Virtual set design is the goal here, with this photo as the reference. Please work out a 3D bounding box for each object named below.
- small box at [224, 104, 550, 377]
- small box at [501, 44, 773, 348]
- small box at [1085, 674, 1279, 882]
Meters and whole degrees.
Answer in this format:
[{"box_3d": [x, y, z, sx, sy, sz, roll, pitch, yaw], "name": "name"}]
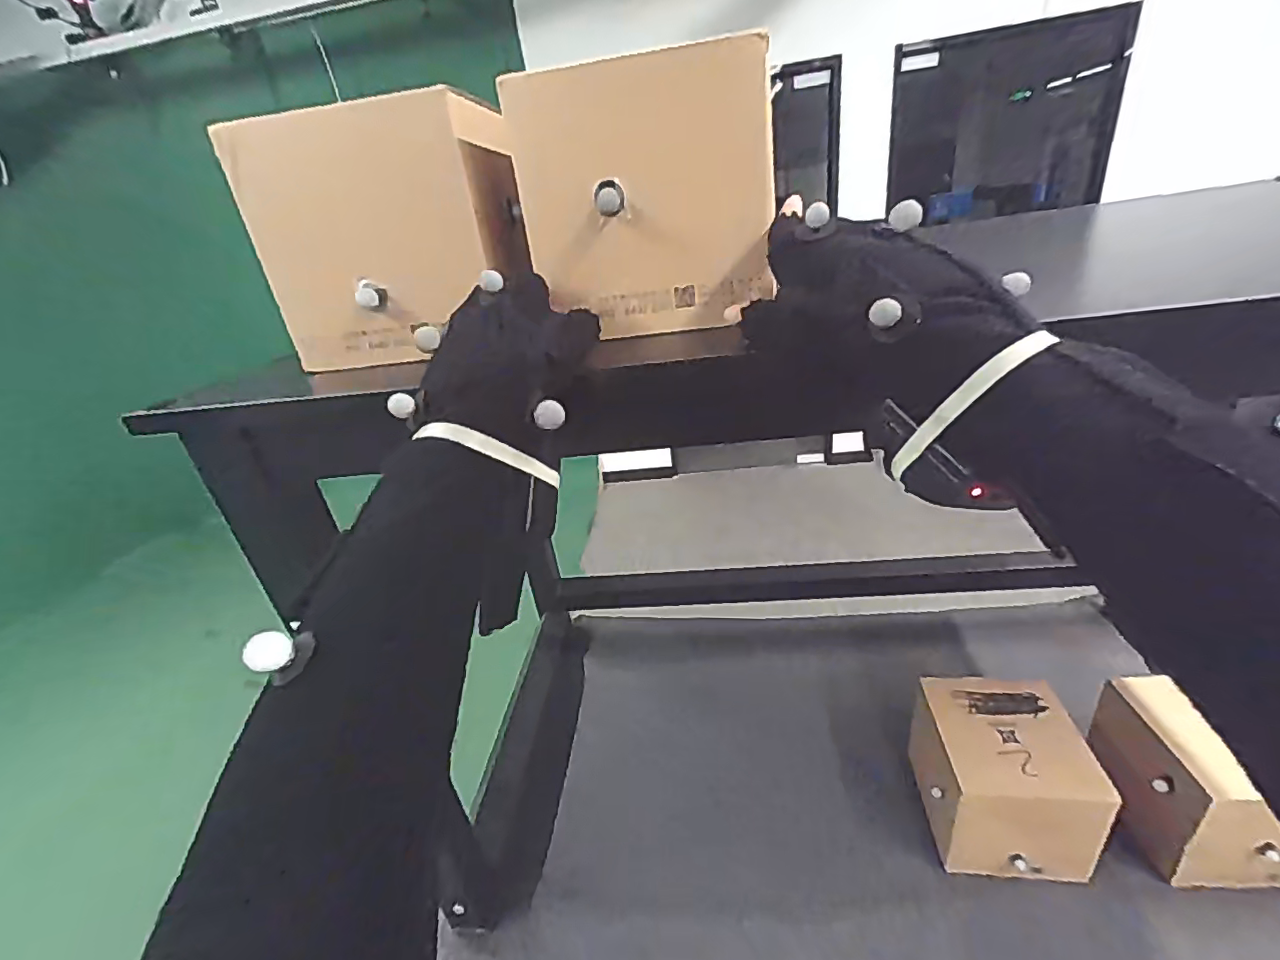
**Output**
[{"box_3d": [-0.182, -0.195, 0.459, 0.168, 0.176, 0.179, -5, 27, 7], "name": "small box"}, {"box_3d": [0.012, -0.208, 0.433, 0.168, 0.176, 0.179, -5, 26, 8], "name": "small box"}, {"box_3d": [0.720, 0.376, 0.687, 0.168, 0.176, 0.179, -4, 25, 8], "name": "small box"}]
